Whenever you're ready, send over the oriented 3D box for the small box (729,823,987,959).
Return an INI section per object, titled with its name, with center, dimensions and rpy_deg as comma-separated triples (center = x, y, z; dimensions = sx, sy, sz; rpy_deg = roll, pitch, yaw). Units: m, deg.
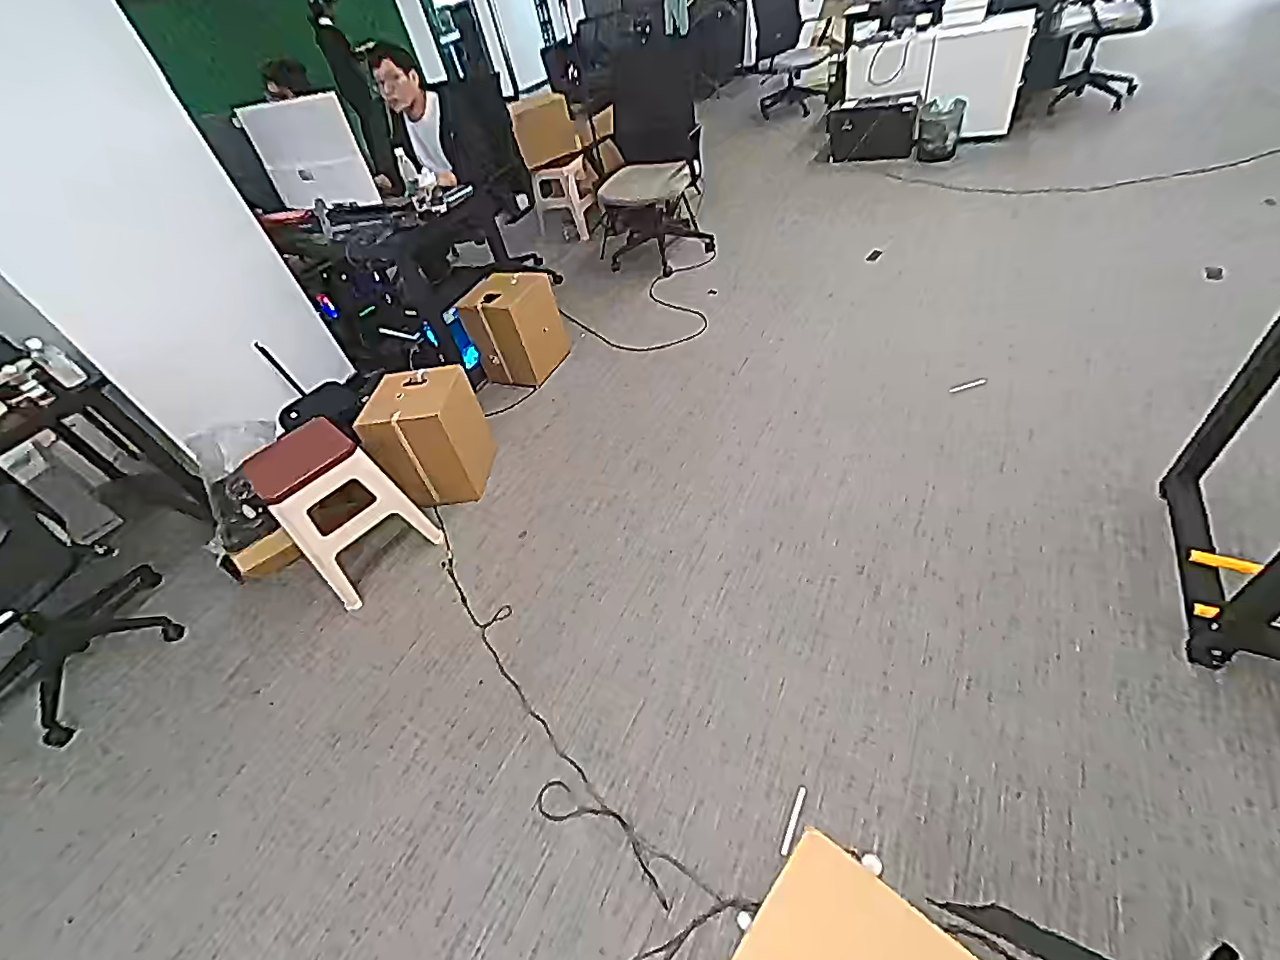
[small box]
center = 0.148, 0.375, 0.354
dimensions = 0.179, 0.176, 0.168
rpy_deg = 28, 62, 34
